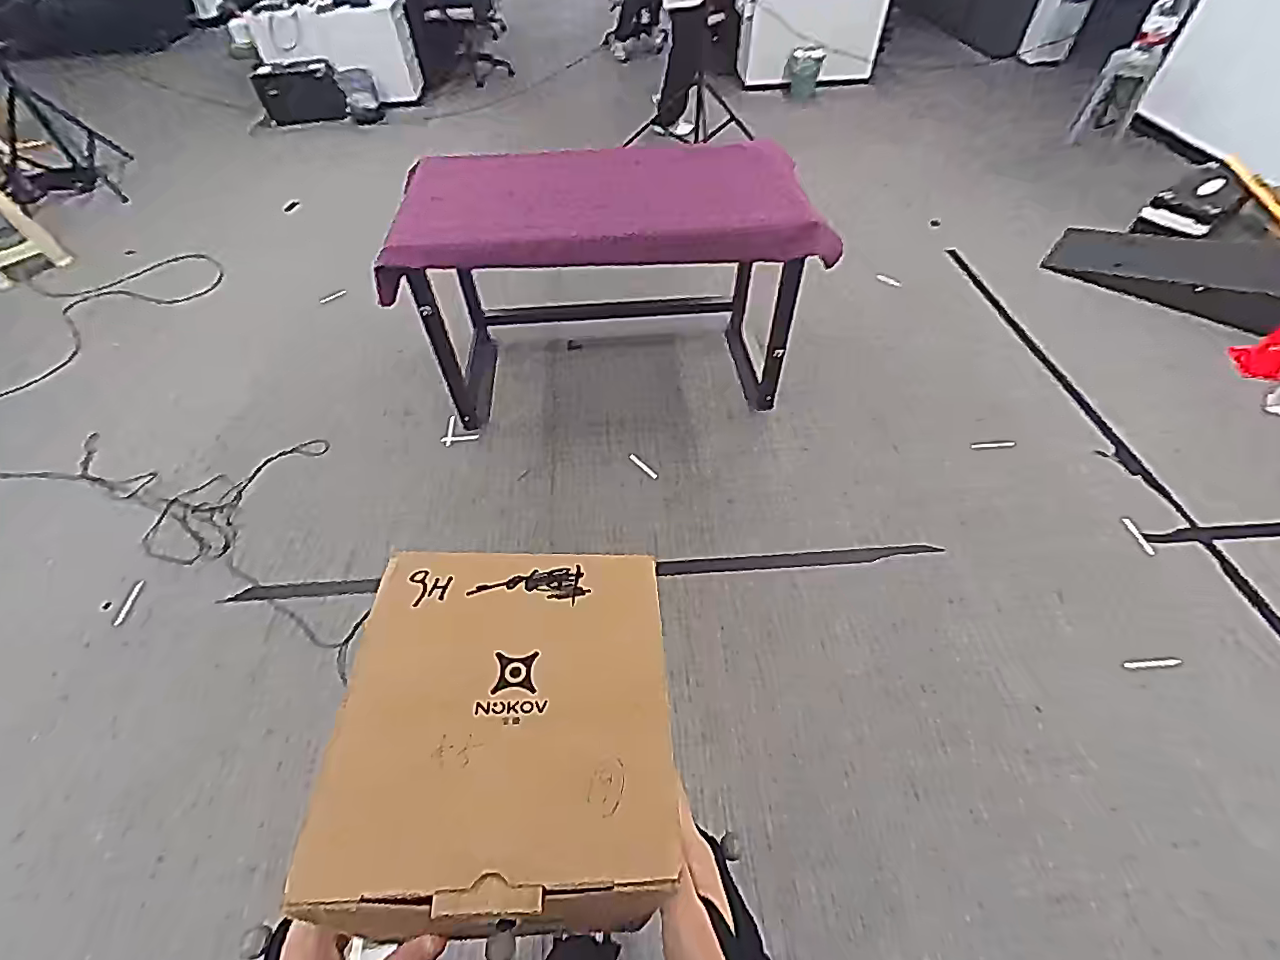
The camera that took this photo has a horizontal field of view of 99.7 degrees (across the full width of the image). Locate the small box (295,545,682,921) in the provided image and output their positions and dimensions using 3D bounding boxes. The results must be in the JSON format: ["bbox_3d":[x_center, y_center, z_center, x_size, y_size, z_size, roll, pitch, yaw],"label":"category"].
[{"bbox_3d":[-0.072,0.162,0.342,0.168,0.176,0.179,3,46,-7],"label":"small box"}]
